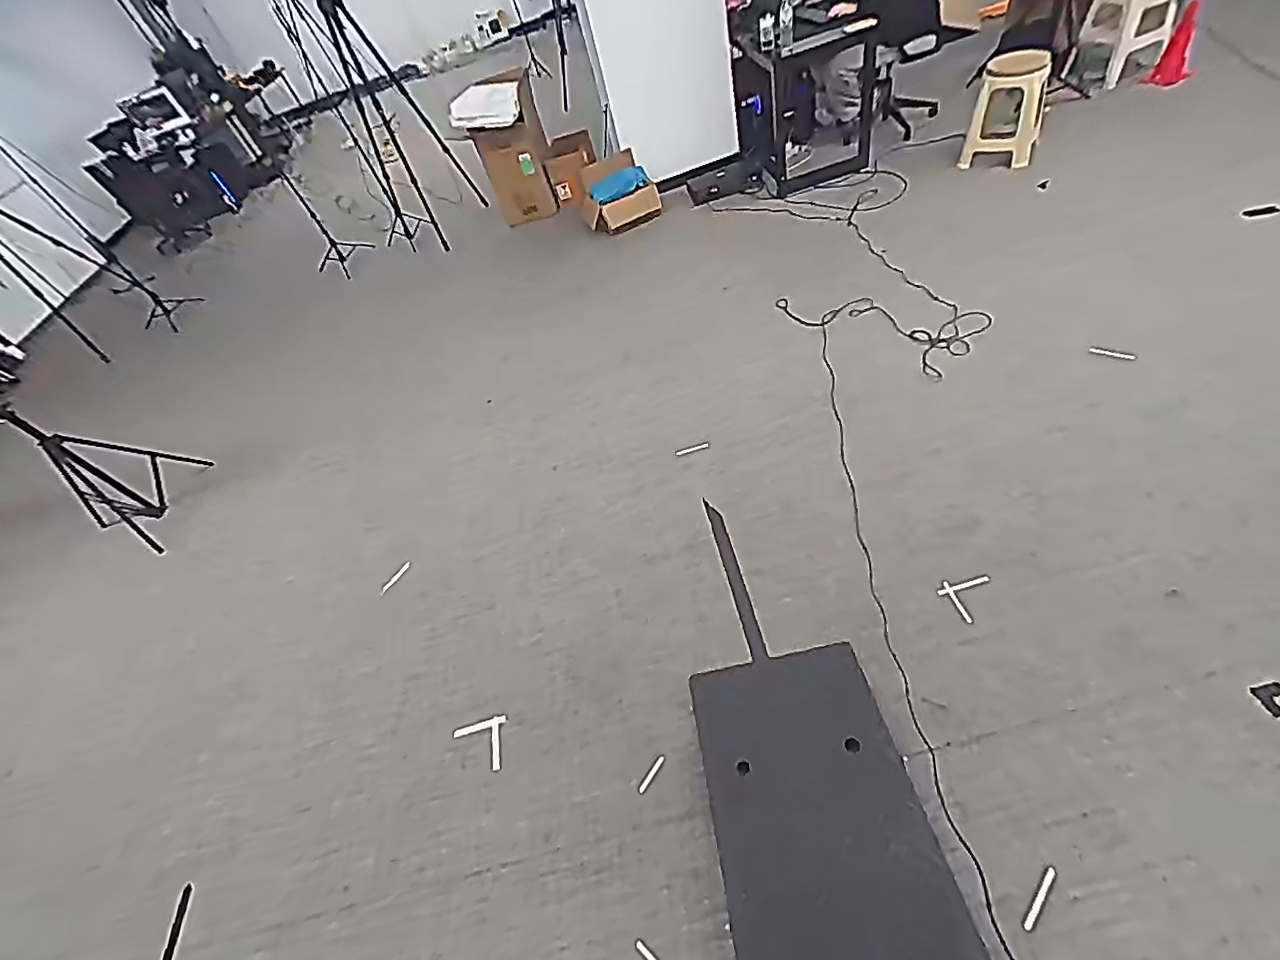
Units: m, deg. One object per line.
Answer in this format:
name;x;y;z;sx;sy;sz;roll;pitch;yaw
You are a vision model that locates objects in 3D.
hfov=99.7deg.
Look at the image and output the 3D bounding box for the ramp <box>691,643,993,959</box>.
ramp;0.424;0.851;1.235;0.509;0.206;0.991;-17;47;5
